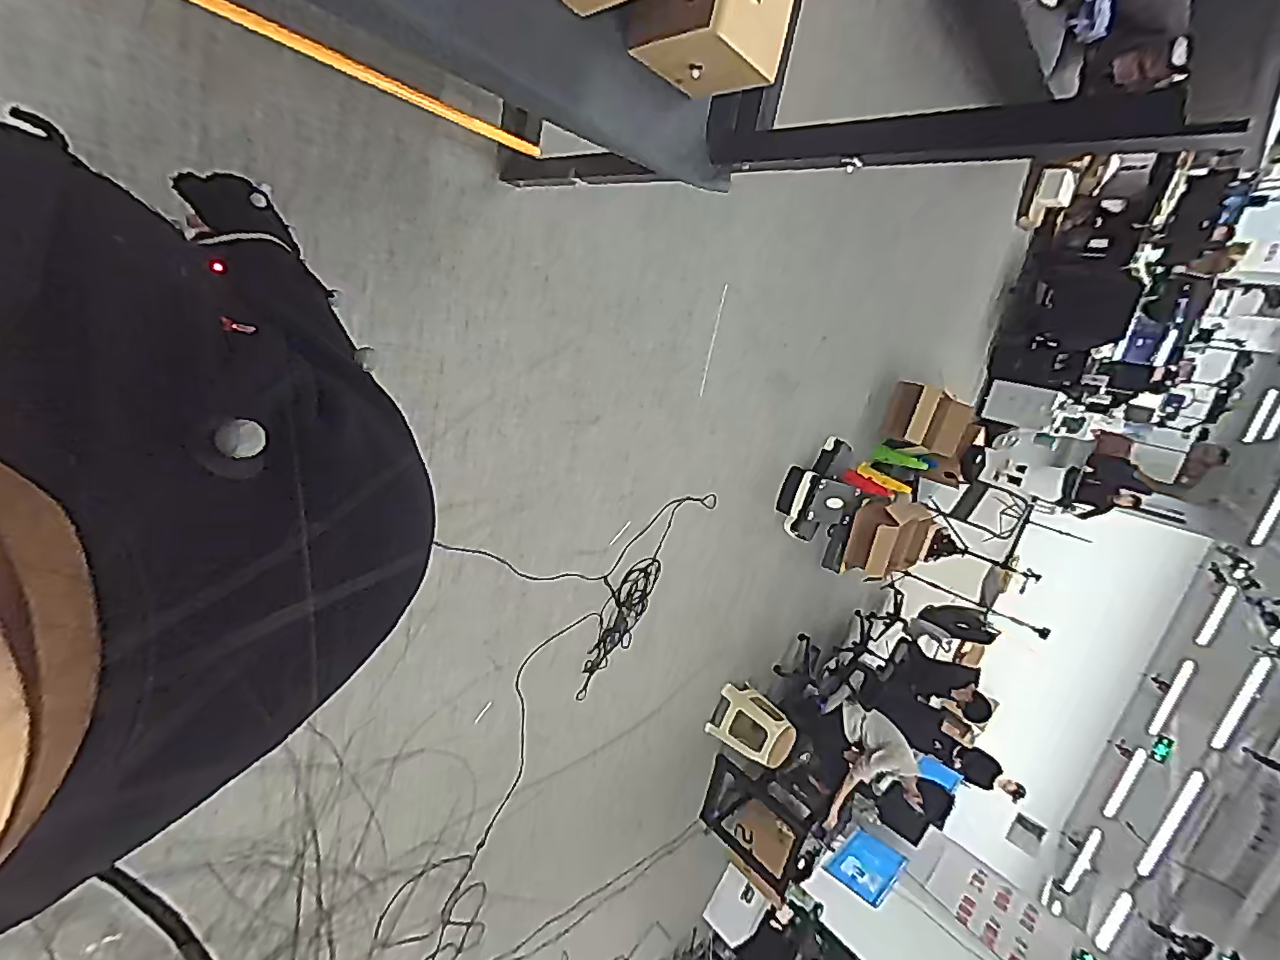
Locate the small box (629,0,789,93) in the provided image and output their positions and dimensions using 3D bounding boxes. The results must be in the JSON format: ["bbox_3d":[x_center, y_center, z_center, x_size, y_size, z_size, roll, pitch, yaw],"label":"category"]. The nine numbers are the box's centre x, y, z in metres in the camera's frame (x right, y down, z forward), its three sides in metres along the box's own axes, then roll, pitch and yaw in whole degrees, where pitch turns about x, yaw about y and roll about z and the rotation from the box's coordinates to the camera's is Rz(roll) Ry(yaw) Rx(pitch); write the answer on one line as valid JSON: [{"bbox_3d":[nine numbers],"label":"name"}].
[{"bbox_3d":[0.104,-0.715,0.808,0.168,0.176,0.179,-4,112,-46],"label":"small box"}]
